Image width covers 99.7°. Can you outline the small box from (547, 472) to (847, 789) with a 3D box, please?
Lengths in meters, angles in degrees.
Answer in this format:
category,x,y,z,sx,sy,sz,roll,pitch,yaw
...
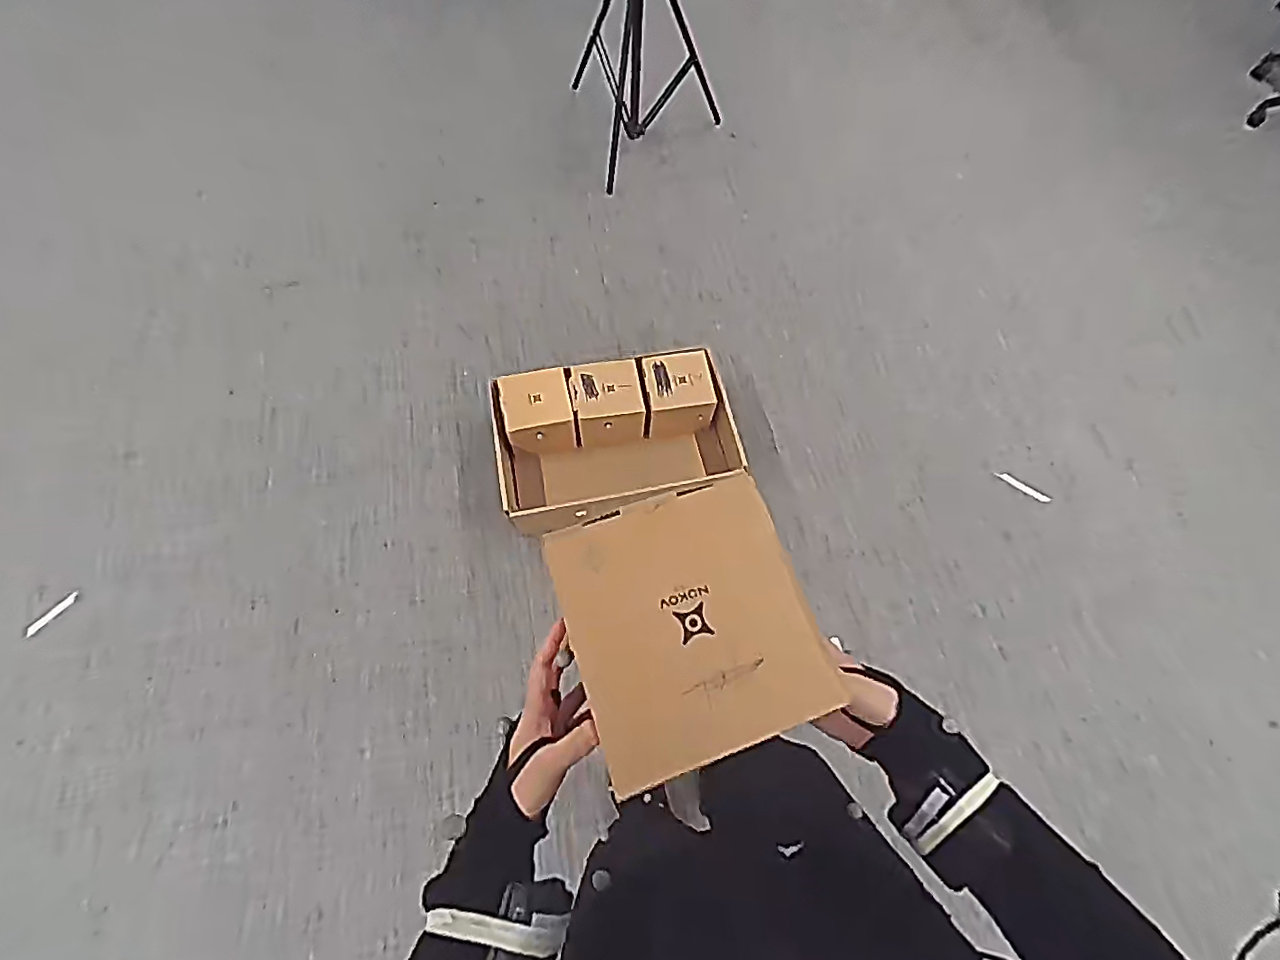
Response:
category,x,y,z,sx,sy,sz,roll,pitch,yaw
small box,0.027,0.120,0.443,0.168,0.176,0.179,-16,72,-11
